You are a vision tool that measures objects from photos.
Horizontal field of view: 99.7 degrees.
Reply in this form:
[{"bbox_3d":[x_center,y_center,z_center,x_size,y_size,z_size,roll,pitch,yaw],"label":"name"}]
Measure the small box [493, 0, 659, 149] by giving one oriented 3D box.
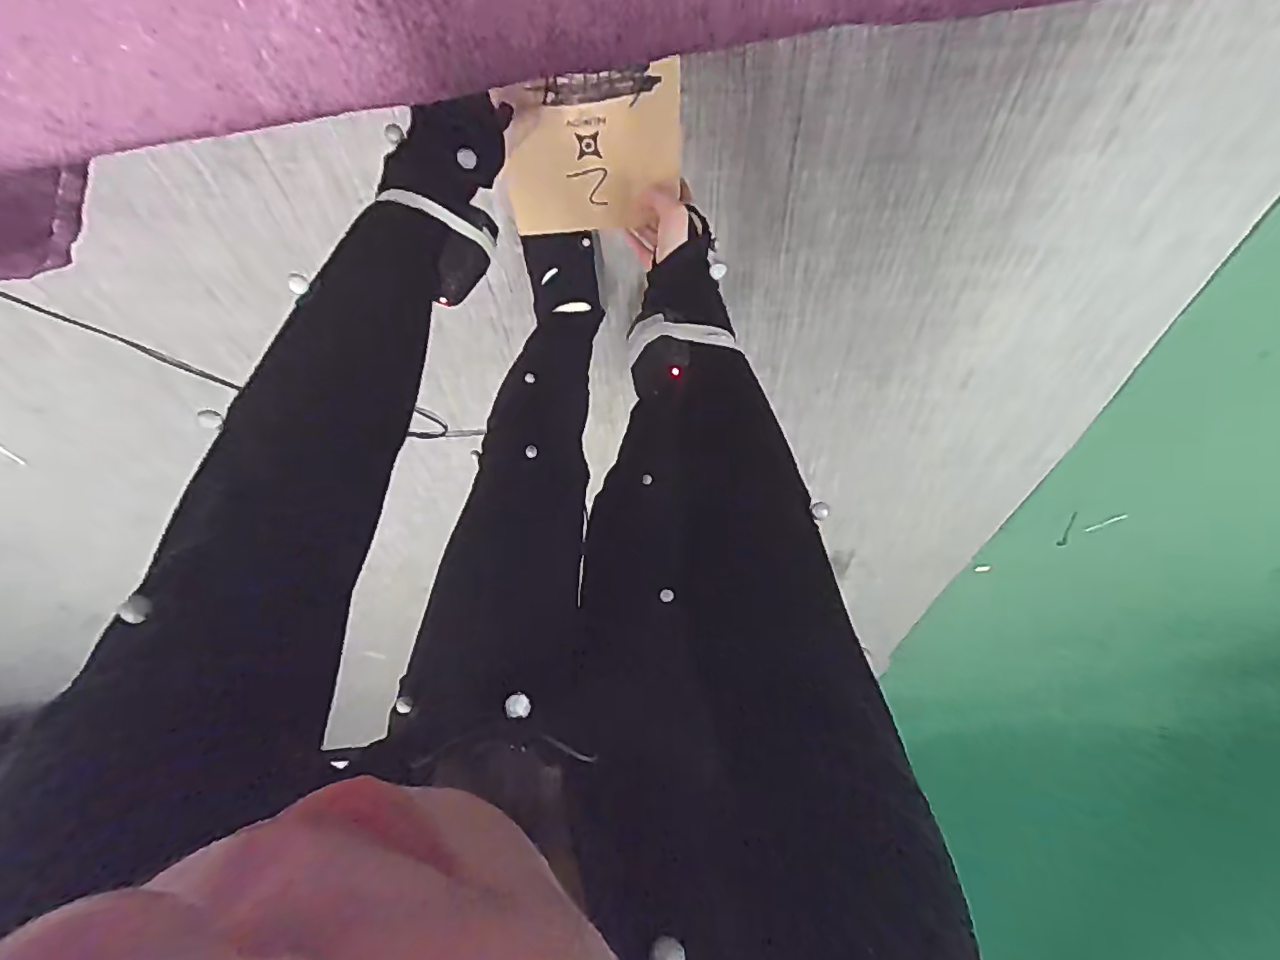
[{"bbox_3d":[-0.064,-0.514,0.622,0.168,0.176,0.179,-4,142,2],"label":"small box"}]
